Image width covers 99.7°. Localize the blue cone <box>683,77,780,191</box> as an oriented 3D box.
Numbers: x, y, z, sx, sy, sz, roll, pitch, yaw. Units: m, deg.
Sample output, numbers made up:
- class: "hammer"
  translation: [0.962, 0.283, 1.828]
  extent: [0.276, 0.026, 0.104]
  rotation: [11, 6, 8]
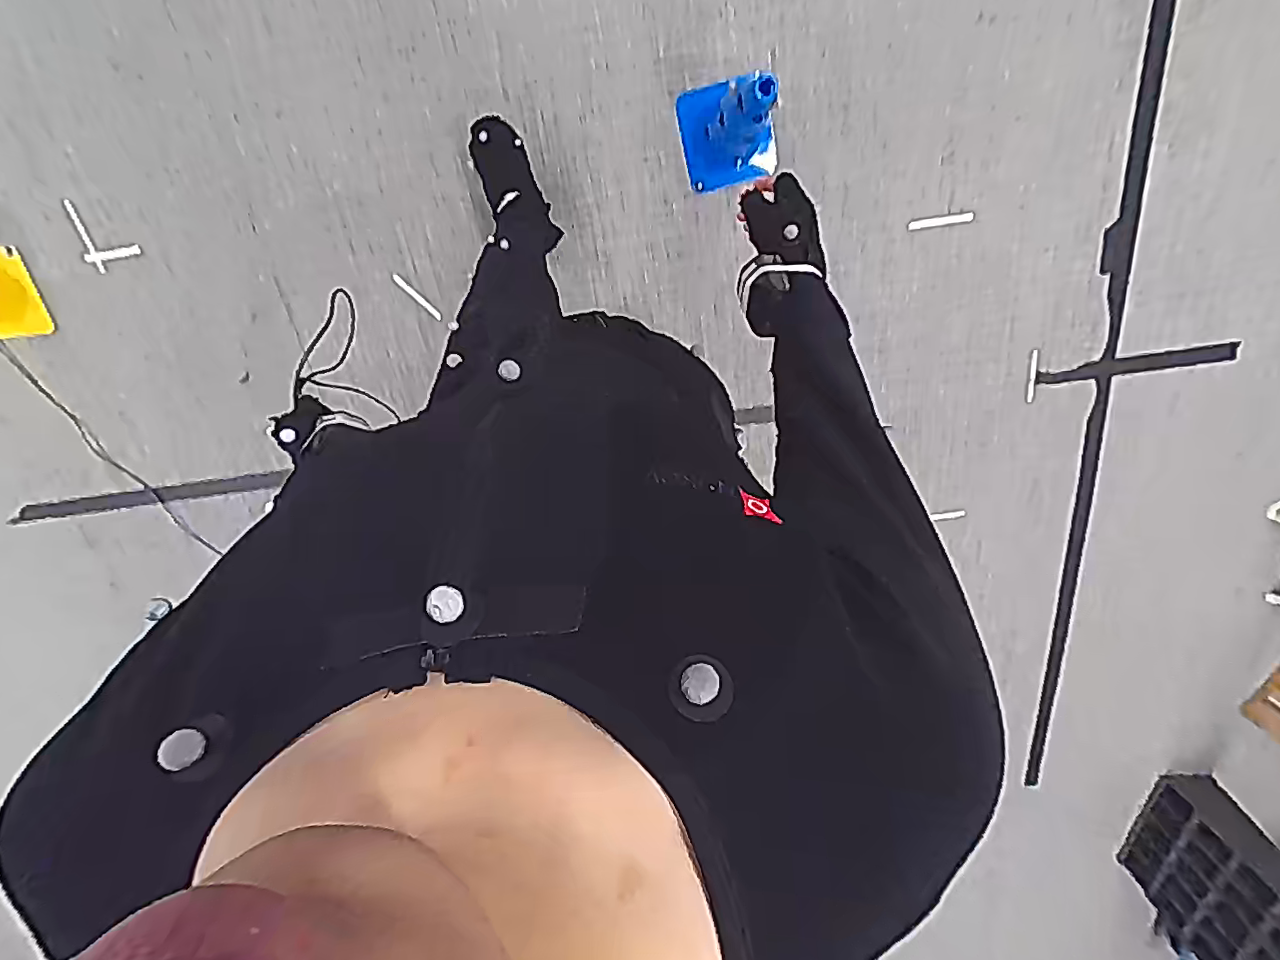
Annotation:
- class: "blue cone"
  translation: [0.201, -0.694, 1.033]
  extent: [0.193, 0.380, 0.192]
  rotation: [-13, 113, 4]
